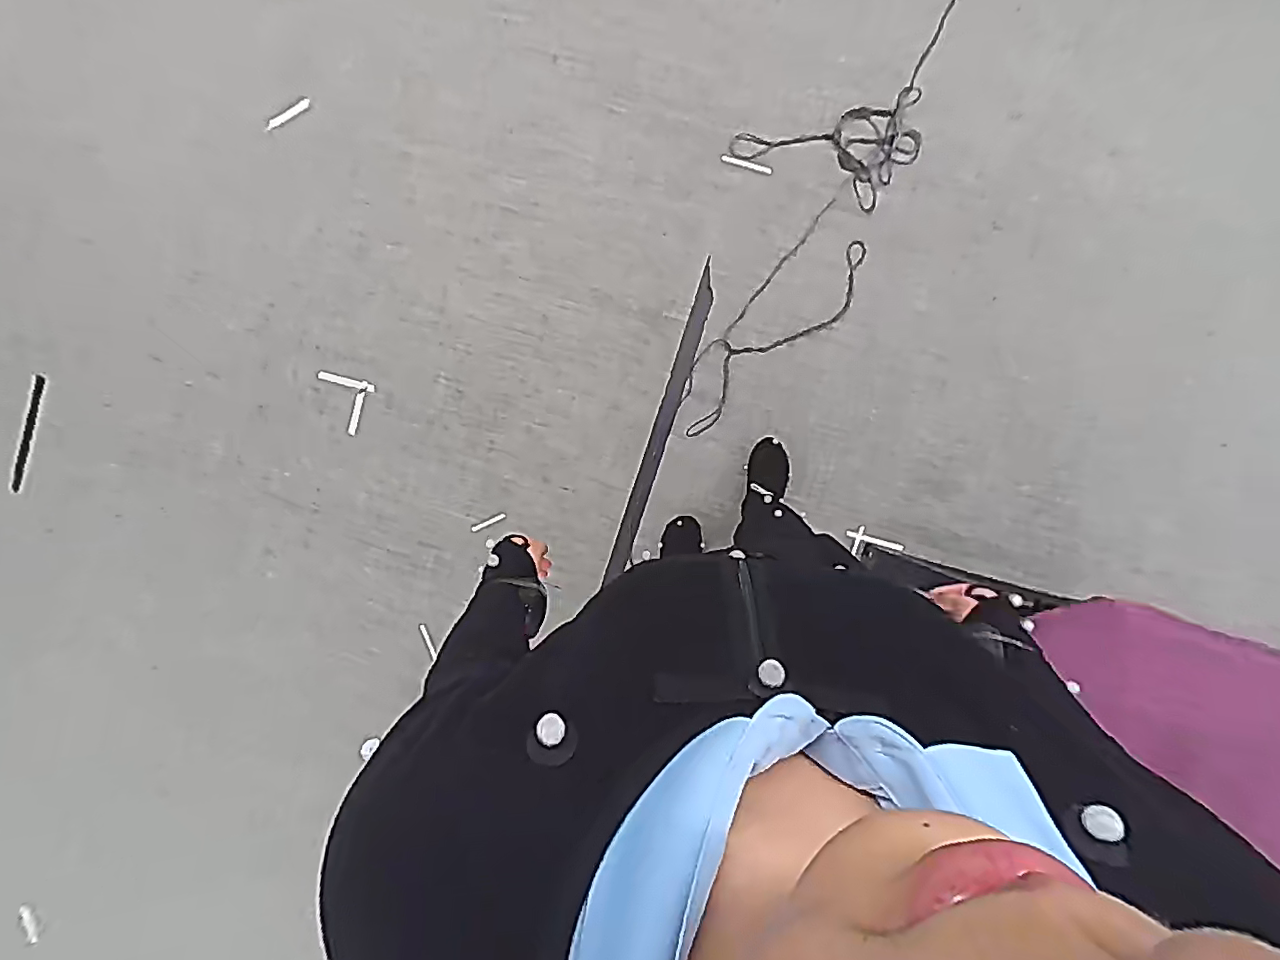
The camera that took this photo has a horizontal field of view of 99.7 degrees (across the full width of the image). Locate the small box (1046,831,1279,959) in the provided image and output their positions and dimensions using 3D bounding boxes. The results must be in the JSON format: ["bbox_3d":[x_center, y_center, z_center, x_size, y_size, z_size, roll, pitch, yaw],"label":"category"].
[{"bbox_3d":[0.647,0.578,0.658,0.168,0.176,0.179,17,93,4],"label":"small box"}]
